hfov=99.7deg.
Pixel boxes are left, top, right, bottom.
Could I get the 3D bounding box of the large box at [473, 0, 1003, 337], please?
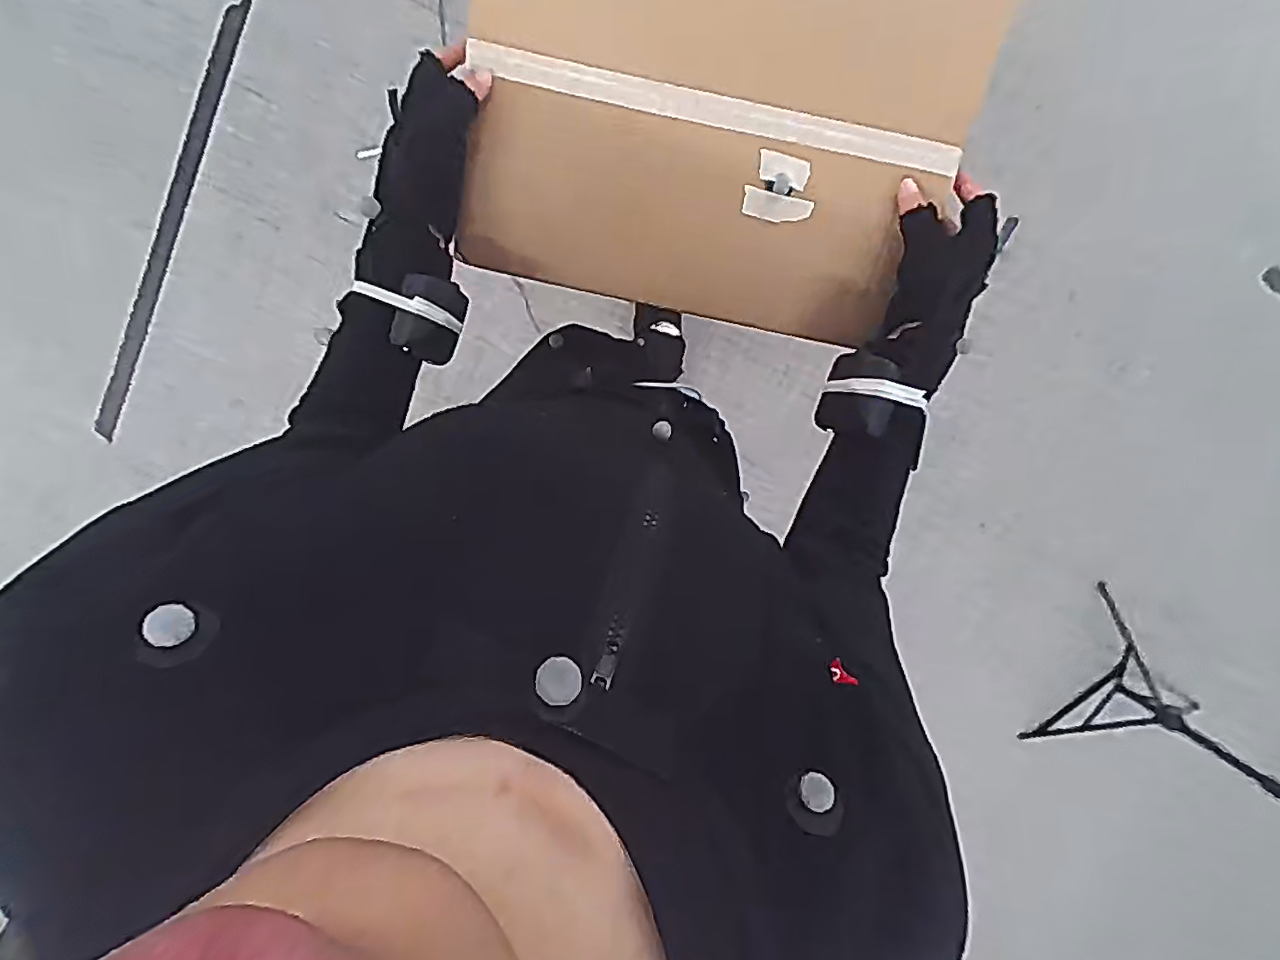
[{"bbox_3d":[0.070,-0.365,0.589,0.408,0.320,0.320,12,113,-2],"label":"large box"}]
